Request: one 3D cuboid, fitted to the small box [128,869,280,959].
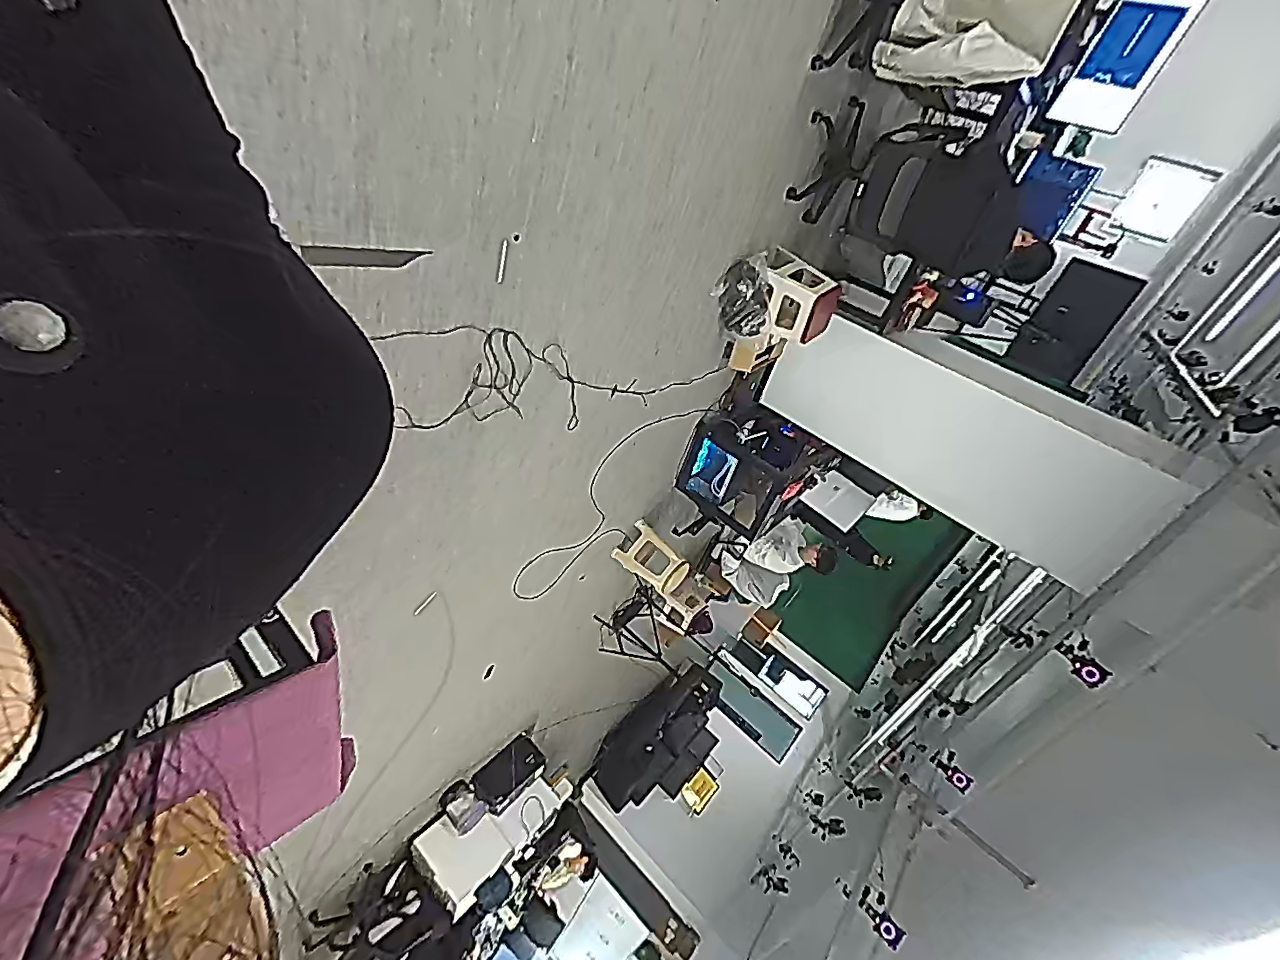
[{"bbox_3d":[-0.773,0.853,0.971,0.168,0.176,0.179,-25,144,-48],"label":"small box"}]

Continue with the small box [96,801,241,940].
[{"bbox_3d":[-0.892,0.759,1.034,0.168,0.176,0.179,-24,142,-48],"label":"small box"}]
